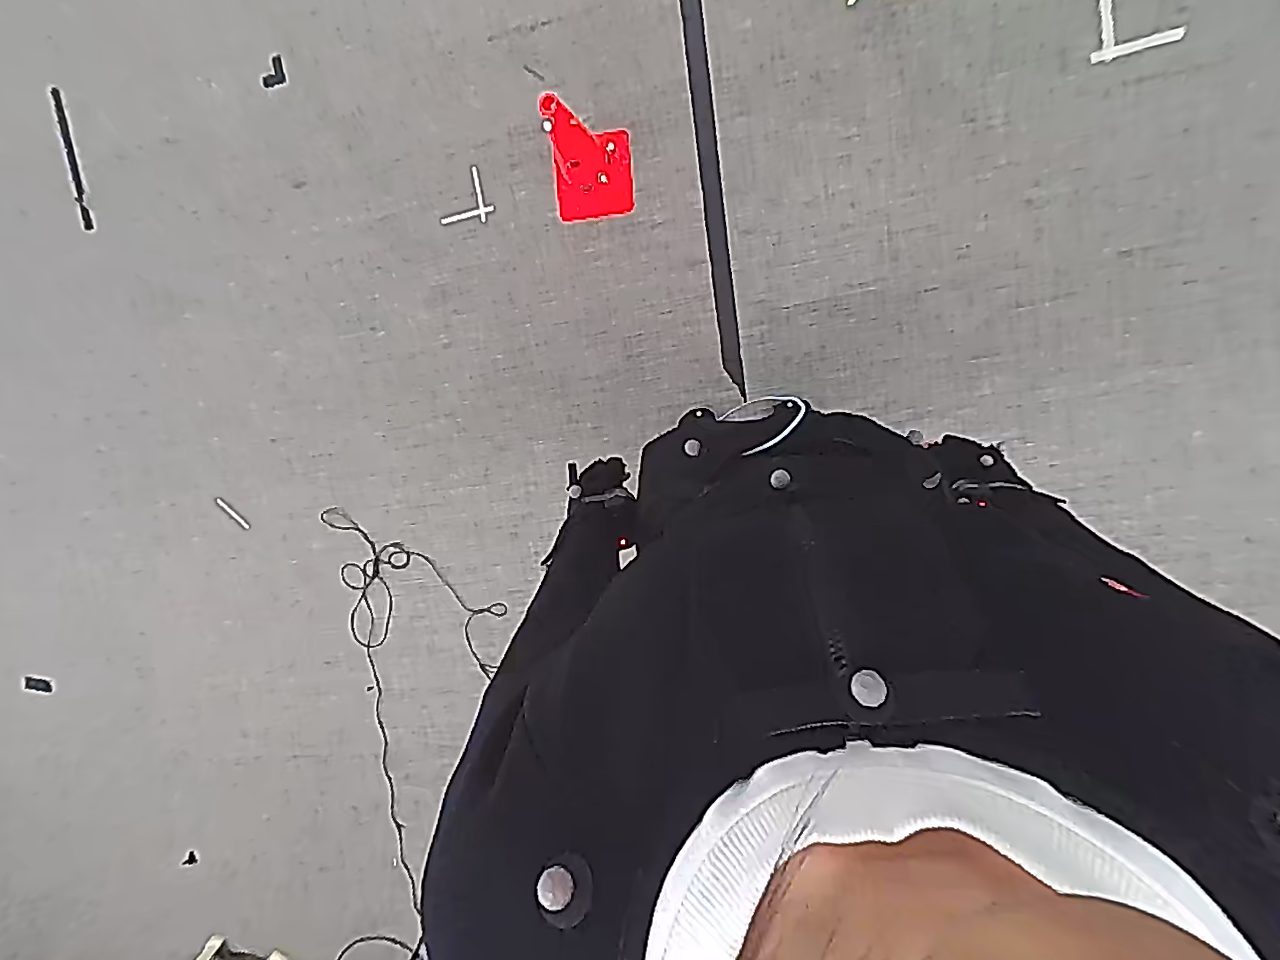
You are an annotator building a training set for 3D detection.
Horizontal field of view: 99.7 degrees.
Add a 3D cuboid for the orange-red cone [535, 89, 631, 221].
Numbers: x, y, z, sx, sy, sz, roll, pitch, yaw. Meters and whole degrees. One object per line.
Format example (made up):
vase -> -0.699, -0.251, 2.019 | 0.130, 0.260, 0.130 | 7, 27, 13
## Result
orange-red cone -> -0.153, -0.740, 1.192 | 0.199, 0.360, 0.198 | -2, 97, 11
